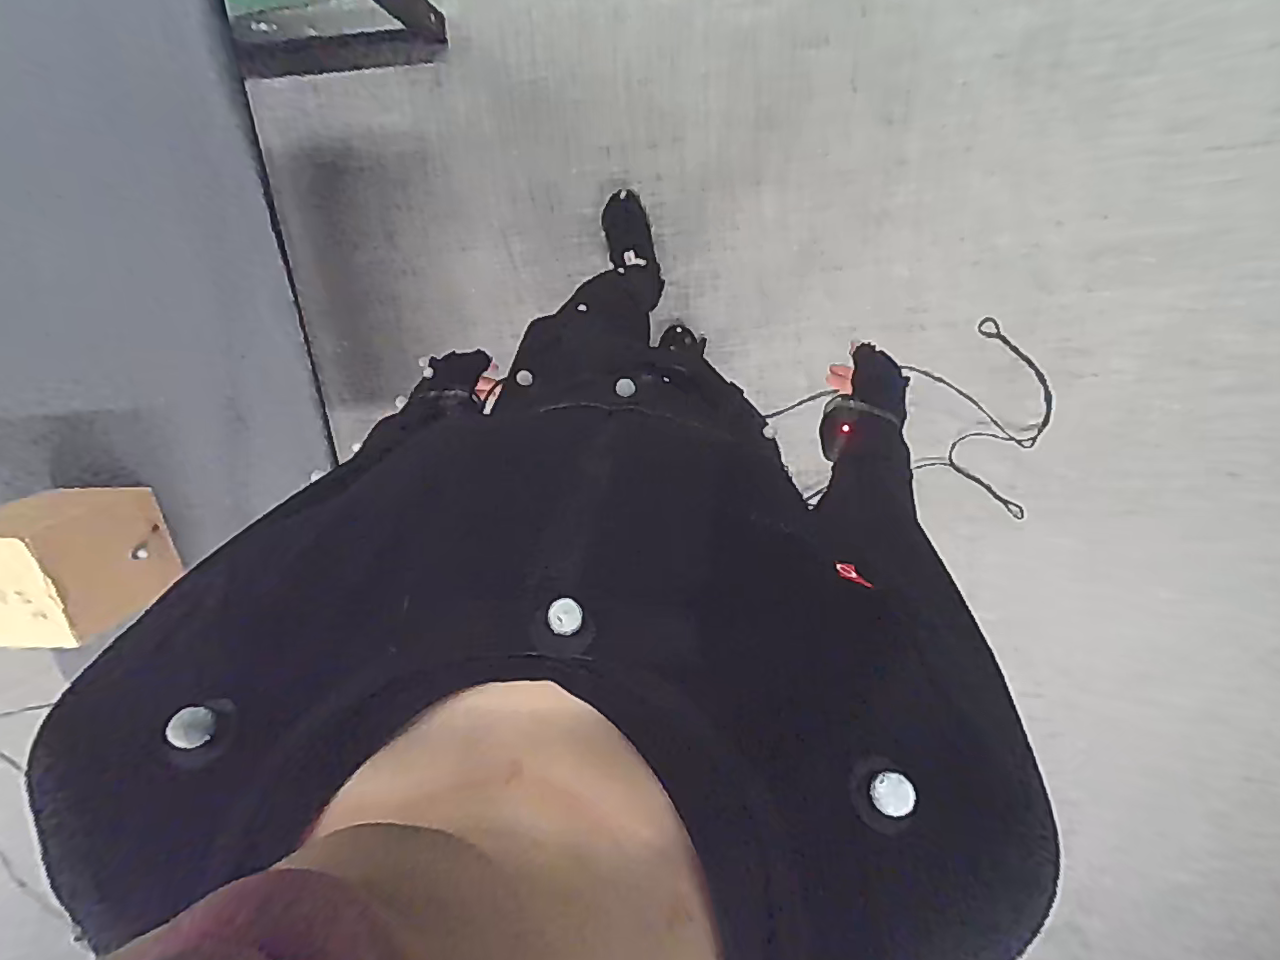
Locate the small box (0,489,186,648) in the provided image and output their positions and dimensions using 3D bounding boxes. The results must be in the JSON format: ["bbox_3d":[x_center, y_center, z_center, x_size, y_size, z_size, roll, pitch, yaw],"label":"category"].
[{"bbox_3d":[-0.817,0.118,0.771,0.179,0.176,0.168,-1,111,6],"label":"small box"}]
